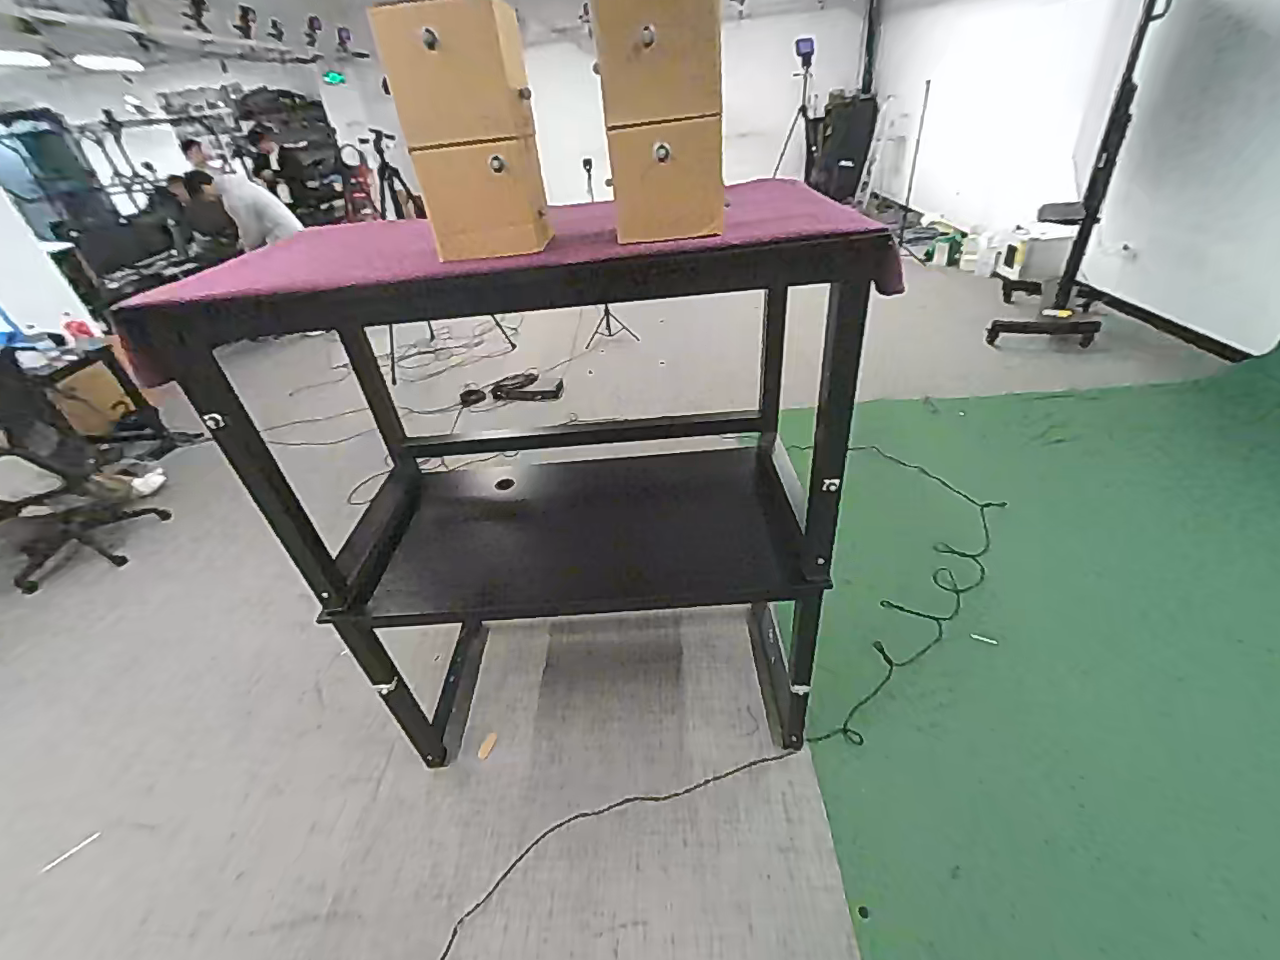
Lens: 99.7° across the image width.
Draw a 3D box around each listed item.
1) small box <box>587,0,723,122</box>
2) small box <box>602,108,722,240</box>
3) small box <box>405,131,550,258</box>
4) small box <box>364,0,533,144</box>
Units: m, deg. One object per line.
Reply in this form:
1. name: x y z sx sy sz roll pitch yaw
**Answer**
1. small box: 0.027 -0.640 0.804 0.179 0.176 0.168 -4 36 7
2. small box: 0.043 -0.507 0.898 0.179 0.176 0.168 -2 35 7
3. small box: -0.263 -0.486 0.922 0.179 0.176 0.168 -5 35 2
4. small box: -0.277 -0.622 0.829 0.179 0.176 0.168 -4 35 3
